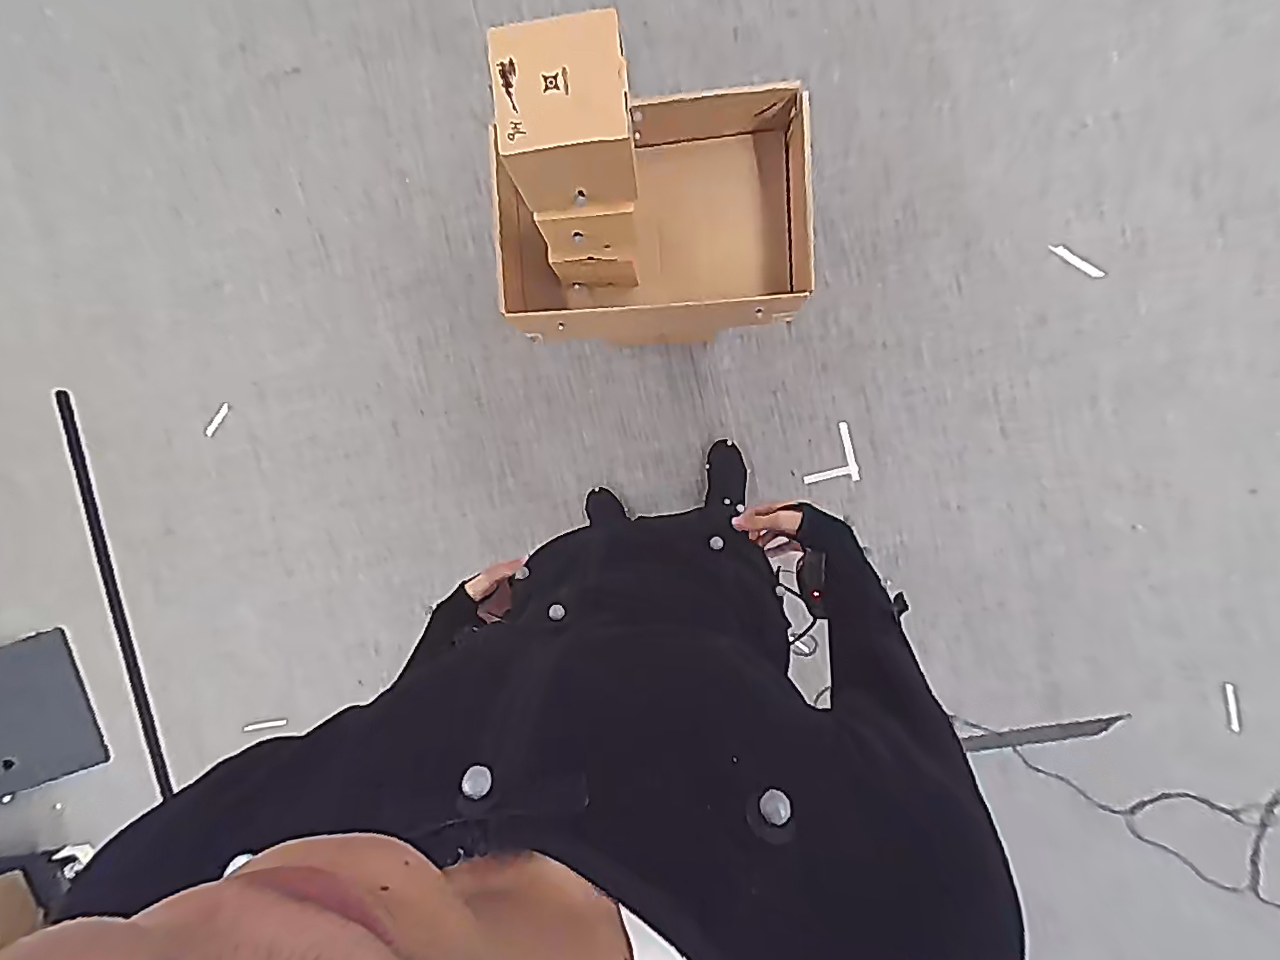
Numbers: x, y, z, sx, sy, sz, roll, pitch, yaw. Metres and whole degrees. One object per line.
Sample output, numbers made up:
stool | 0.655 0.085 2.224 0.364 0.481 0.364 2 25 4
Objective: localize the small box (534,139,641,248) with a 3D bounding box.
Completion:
small box | -0.087 -0.517 0.938 0.168 0.176 0.179 -3 92 3

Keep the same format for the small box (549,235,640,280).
small box | -0.086 -0.515 1.101 0.168 0.176 0.179 0 93 3

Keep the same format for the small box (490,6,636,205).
small box | -0.098 -0.519 0.774 0.179 0.176 0.168 -4 92 3
